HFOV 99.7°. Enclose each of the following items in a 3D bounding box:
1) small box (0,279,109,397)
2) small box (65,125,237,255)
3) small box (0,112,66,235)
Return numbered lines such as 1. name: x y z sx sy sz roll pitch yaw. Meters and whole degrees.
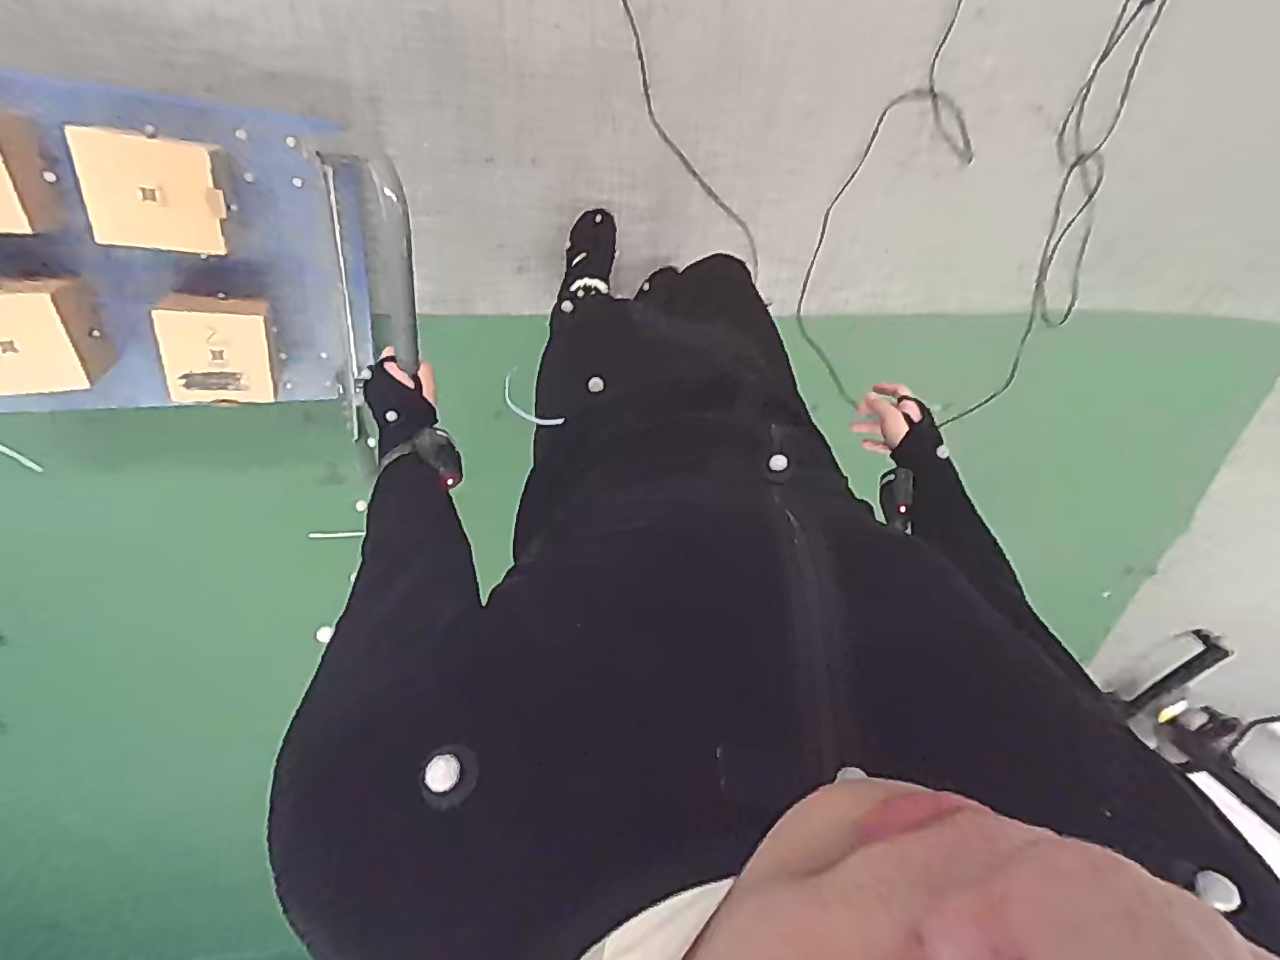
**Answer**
1. small box: -1.078 -0.252 0.942 0.179 0.176 0.168 -10 122 -24
2. small box: -0.828 -0.498 0.938 0.179 0.176 0.168 -6 120 -28
3. small box: -1.048 -0.477 0.823 0.179 0.176 0.168 -9 122 -26
